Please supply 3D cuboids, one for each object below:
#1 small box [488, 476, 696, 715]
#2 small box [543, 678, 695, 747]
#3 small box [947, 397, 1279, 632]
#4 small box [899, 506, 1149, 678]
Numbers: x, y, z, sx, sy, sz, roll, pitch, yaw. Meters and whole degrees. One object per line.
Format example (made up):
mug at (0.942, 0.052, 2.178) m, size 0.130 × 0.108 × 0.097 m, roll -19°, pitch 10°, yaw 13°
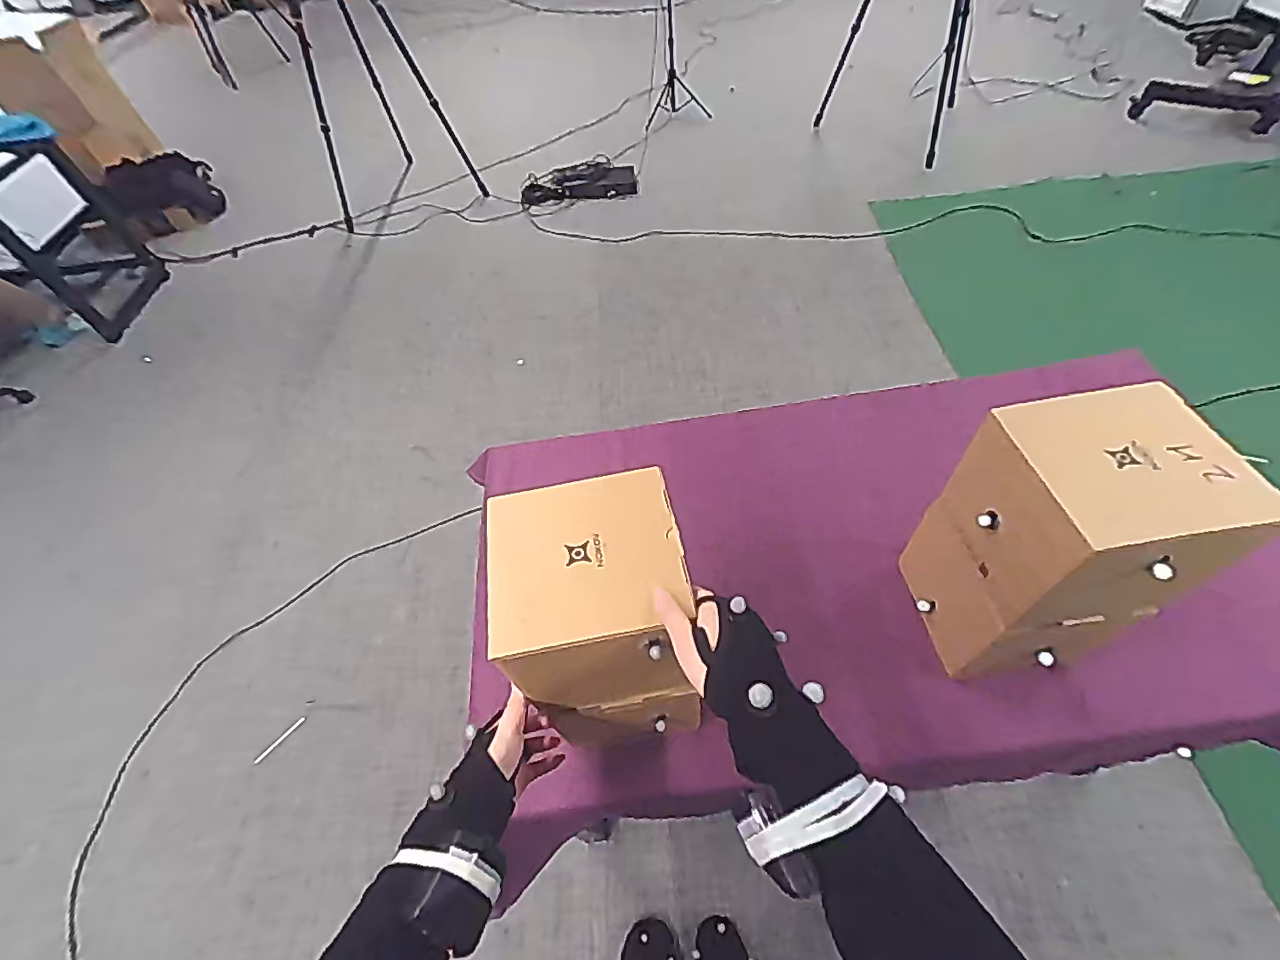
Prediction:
small box at (-0.043, 0.122, 0.550) m, size 0.179 × 0.176 × 0.168 m, roll -10°, pitch 52°, yaw -3°
small box at (-0.024, 0.222, 0.678) m, size 0.168 × 0.176 × 0.179 m, roll -8°, pitch 52°, yaw -1°
small box at (0.447, 0.041, 0.553) m, size 0.179 × 0.176 × 0.168 m, roll -8°, pitch 52°, yaw 0°
small box at (0.459, 0.140, 0.685) m, size 0.168 × 0.176 × 0.179 m, roll -8°, pitch 53°, yaw 0°
